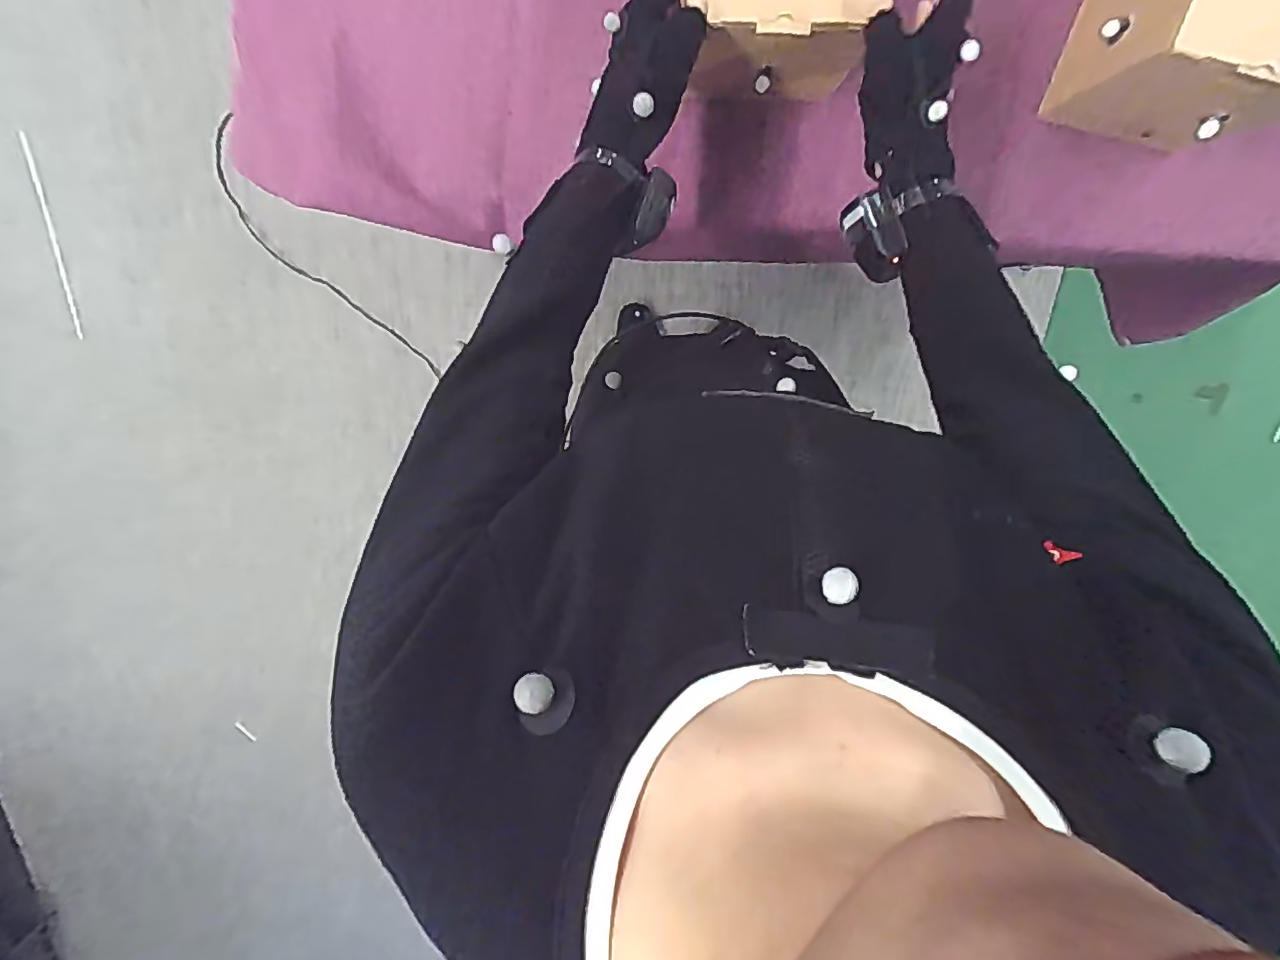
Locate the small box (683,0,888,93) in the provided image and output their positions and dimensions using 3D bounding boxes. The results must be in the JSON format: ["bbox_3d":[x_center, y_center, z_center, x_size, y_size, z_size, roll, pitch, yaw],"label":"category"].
[{"bbox_3d":[0.127,-0.478,0.490,0.168,0.176,0.179,3,109,2],"label":"small box"}]

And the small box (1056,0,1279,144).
[{"bbox_3d":[0.528,-0.432,0.483,0.168,0.176,0.179,14,108,-2],"label":"small box"}]
